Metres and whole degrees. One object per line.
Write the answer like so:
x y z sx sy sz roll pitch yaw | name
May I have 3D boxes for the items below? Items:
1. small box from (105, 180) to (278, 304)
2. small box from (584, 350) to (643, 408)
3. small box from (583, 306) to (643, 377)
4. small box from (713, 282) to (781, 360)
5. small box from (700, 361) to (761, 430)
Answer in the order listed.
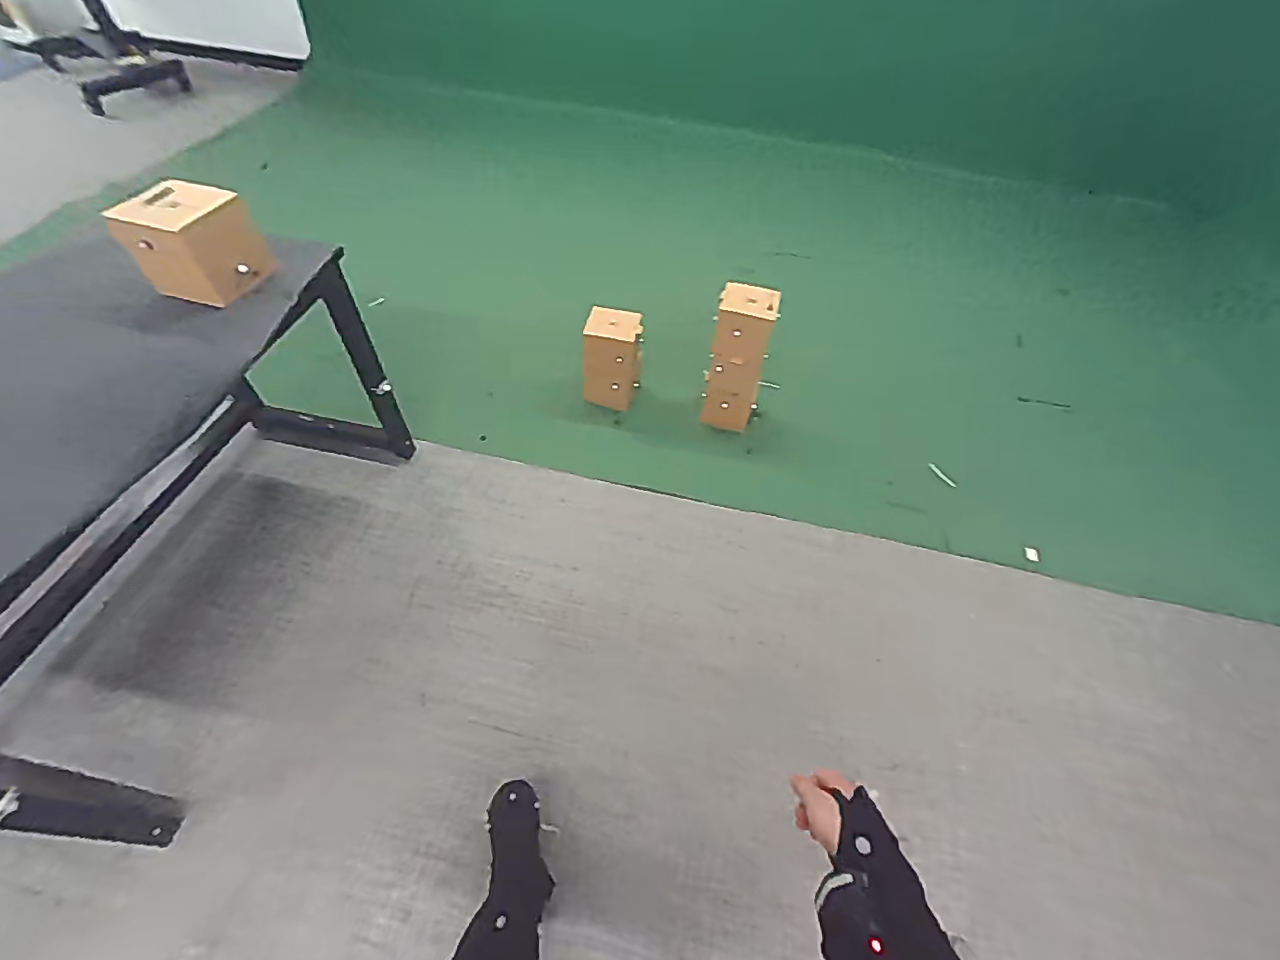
-0.913 -0.490 1.120 0.179 0.176 0.168 15 54 9 | small box
-0.100 -0.393 2.037 0.179 0.176 0.168 16 53 9 | small box
-0.094 -0.484 1.902 0.179 0.176 0.168 10 52 4 | small box
0.342 -0.512 1.749 0.179 0.176 0.168 14 52 7 | small box
0.333 -0.308 2.006 0.179 0.176 0.168 15 53 8 | small box
